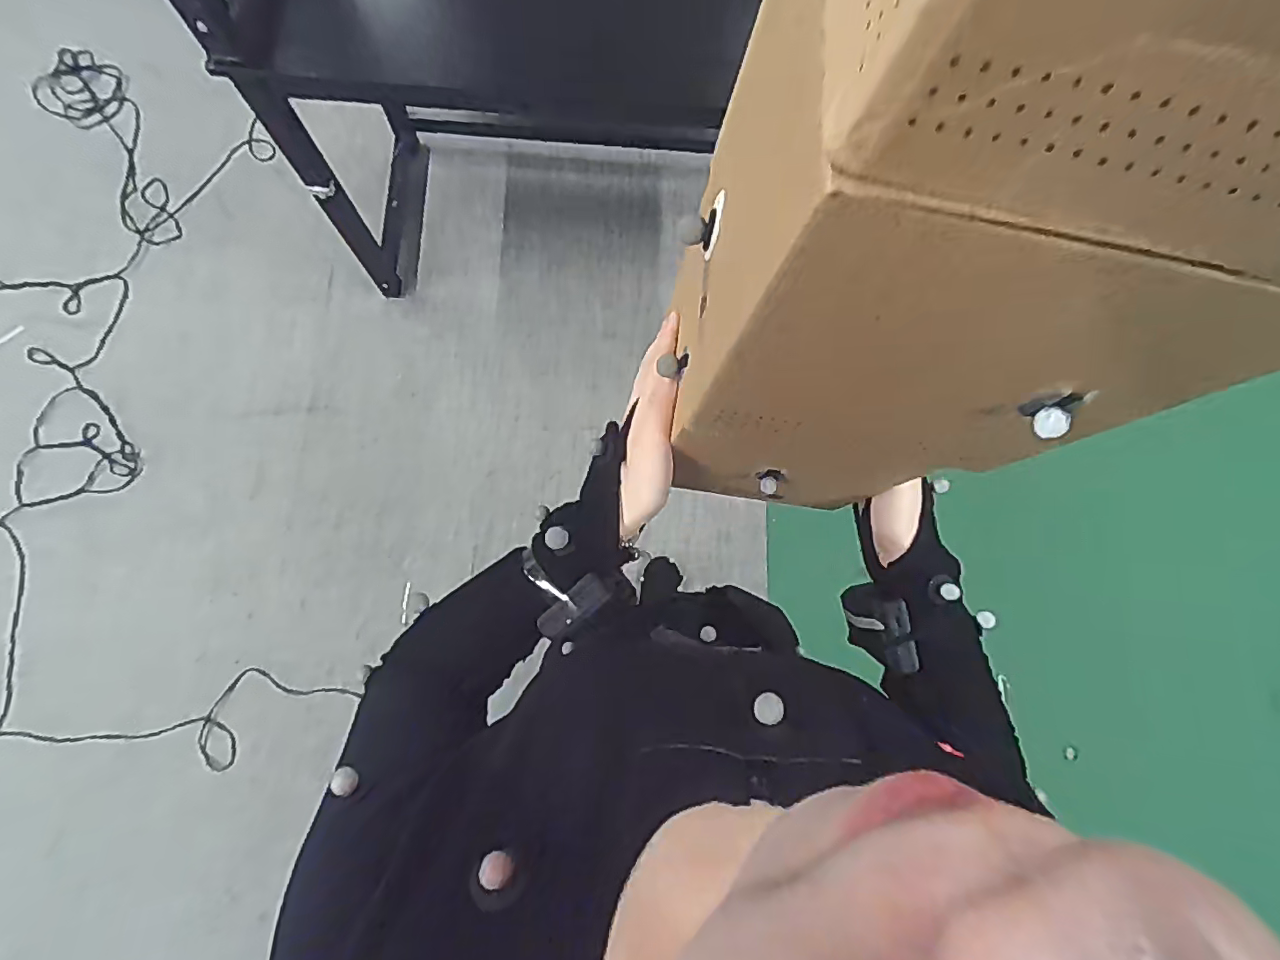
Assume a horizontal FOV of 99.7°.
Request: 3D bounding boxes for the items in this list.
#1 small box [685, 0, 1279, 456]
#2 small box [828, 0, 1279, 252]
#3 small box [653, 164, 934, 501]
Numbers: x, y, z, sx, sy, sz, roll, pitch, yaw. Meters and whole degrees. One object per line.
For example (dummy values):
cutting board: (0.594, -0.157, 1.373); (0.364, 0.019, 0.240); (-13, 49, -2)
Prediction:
small box: (0.127, -0.117, 0.240); (0.179, 0.176, 0.168); (7, 74, -5)
small box: (0.147, -0.165, 0.085); (0.179, 0.176, 0.168); (10, 74, -5)
small box: (0.108, -0.091, 0.400); (0.168, 0.176, 0.179); (9, 74, -6)
